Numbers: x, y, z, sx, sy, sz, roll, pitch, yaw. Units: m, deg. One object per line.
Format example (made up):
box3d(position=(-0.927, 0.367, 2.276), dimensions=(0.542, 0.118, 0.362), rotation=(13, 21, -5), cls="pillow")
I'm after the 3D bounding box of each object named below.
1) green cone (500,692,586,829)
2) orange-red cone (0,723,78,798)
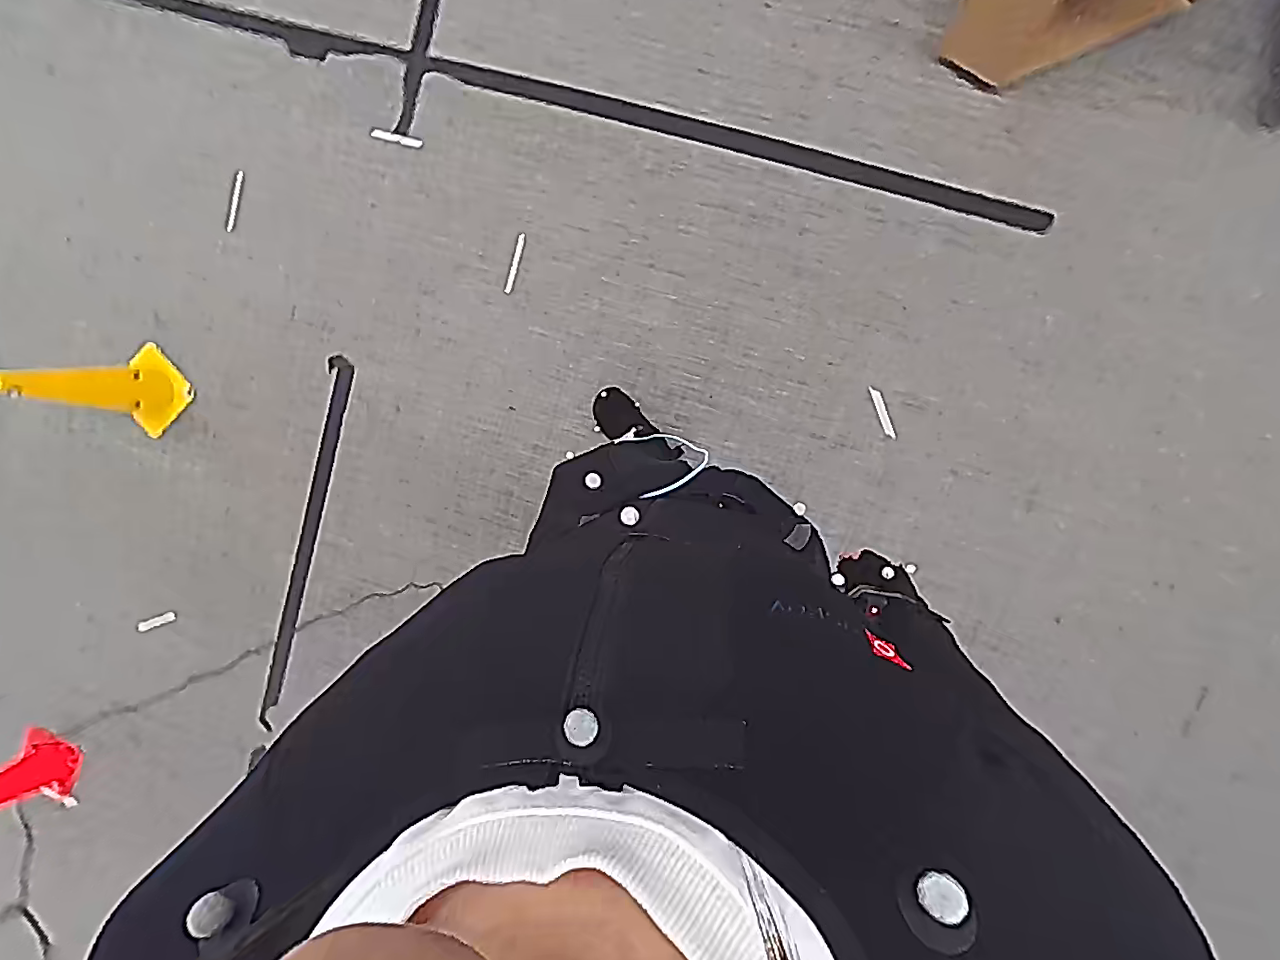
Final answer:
box3d(position=(-0.275, 0.725, 1.369), dimensions=(0.200, 0.368, 0.202), rotation=(2, 98, 7), cls="green cone")
box3d(position=(-1.939, 0.920, 1.579), dimensions=(0.198, 0.360, 0.199), rotation=(25, 98, 2), cls="orange-red cone")
